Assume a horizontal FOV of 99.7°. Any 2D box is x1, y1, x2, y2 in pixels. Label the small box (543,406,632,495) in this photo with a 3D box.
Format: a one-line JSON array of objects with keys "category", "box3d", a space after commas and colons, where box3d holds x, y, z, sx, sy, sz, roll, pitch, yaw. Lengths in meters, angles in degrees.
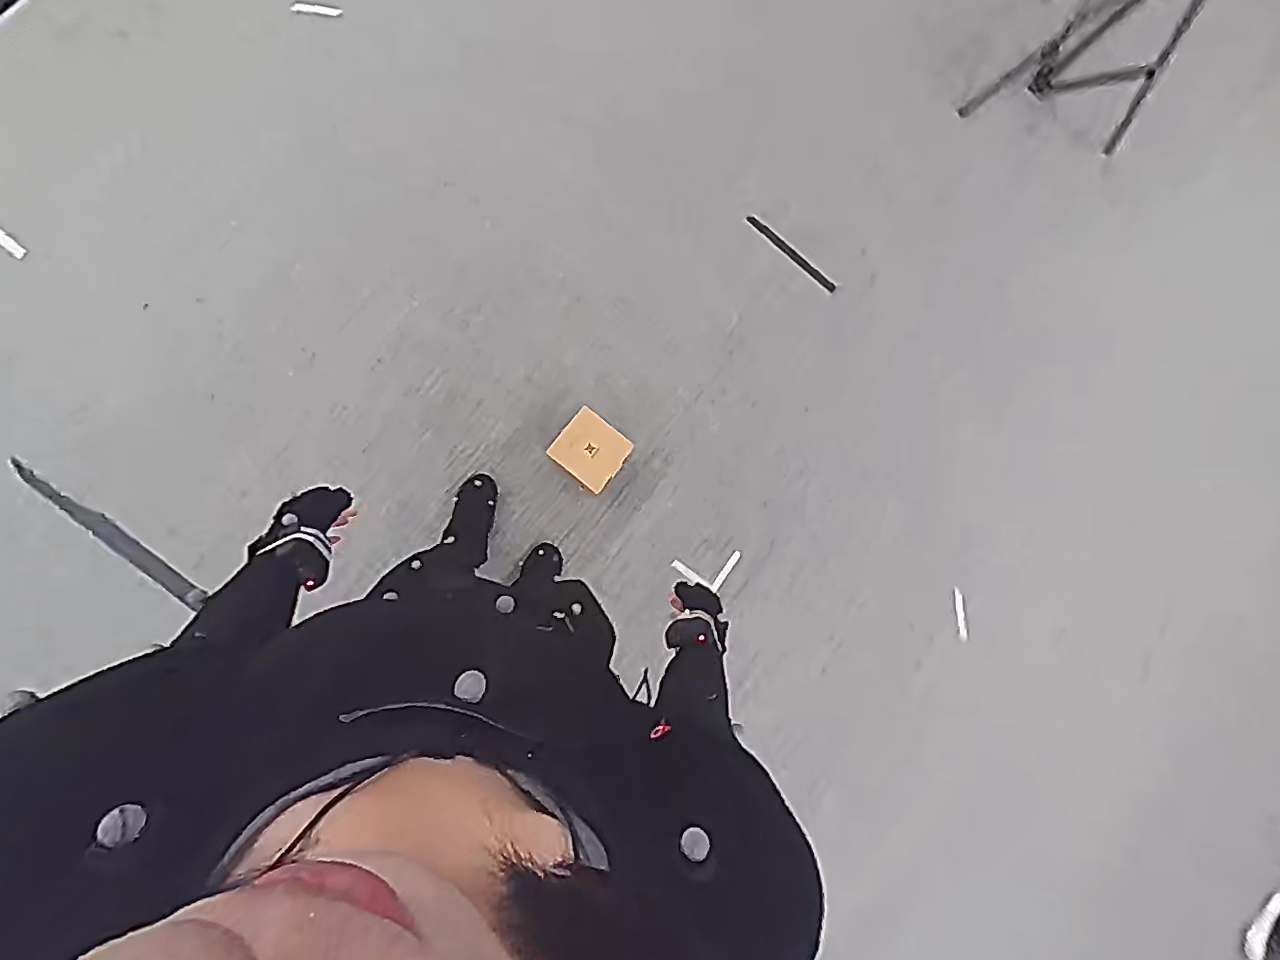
[{"category": "small box", "box3d": [-0.146, -0.073, 1.477, 0.179, 0.176, 0.168, 39, 80, -4]}]
